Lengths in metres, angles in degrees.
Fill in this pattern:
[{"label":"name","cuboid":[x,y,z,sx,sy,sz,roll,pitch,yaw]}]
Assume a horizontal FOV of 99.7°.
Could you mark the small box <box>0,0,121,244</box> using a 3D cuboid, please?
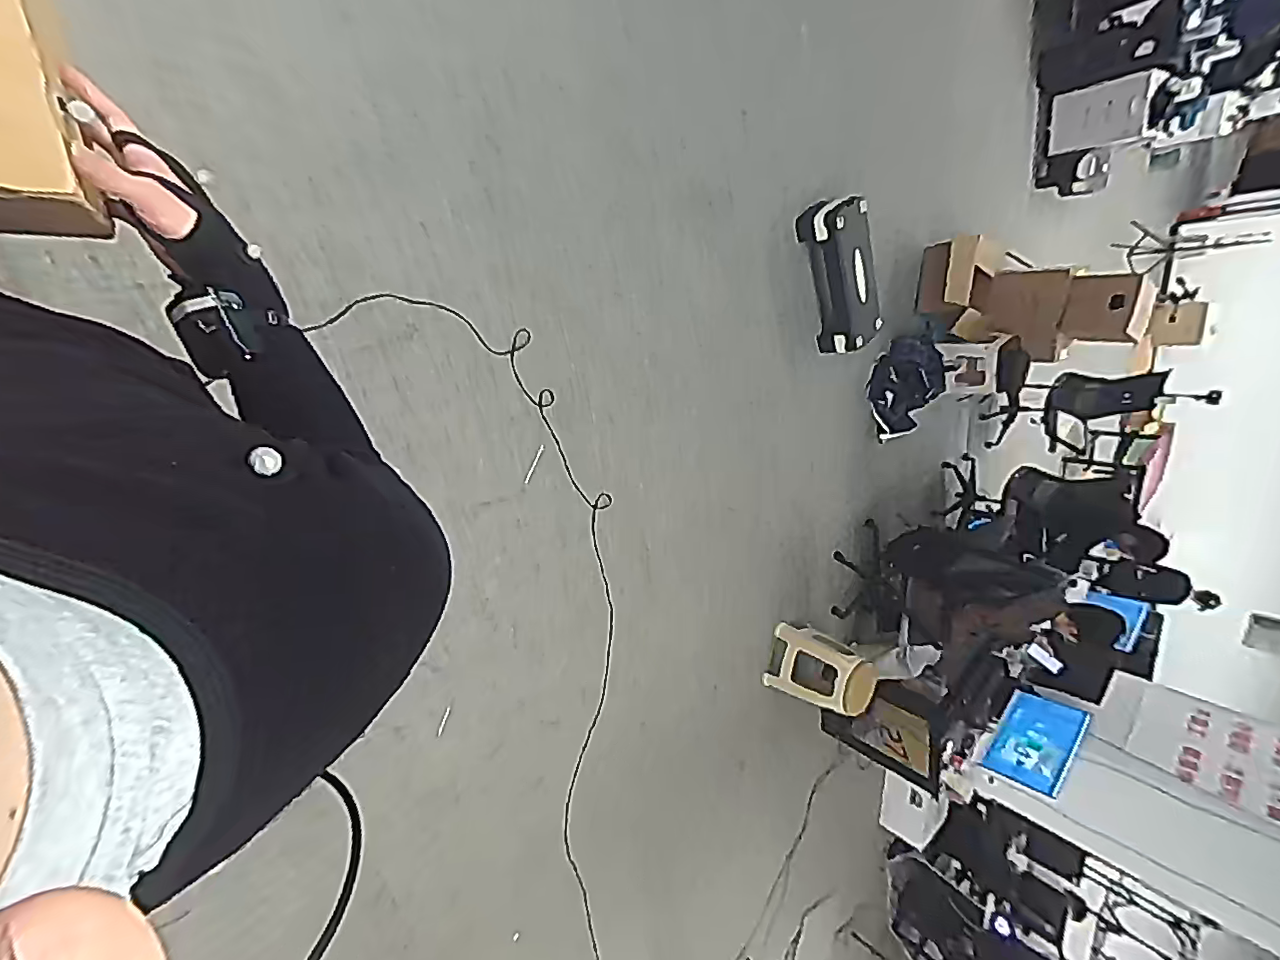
[{"label":"small box","cuboid":[-0.476,-0.259,0.352,0.168,0.176,0.179,-15,110,-36]}]
